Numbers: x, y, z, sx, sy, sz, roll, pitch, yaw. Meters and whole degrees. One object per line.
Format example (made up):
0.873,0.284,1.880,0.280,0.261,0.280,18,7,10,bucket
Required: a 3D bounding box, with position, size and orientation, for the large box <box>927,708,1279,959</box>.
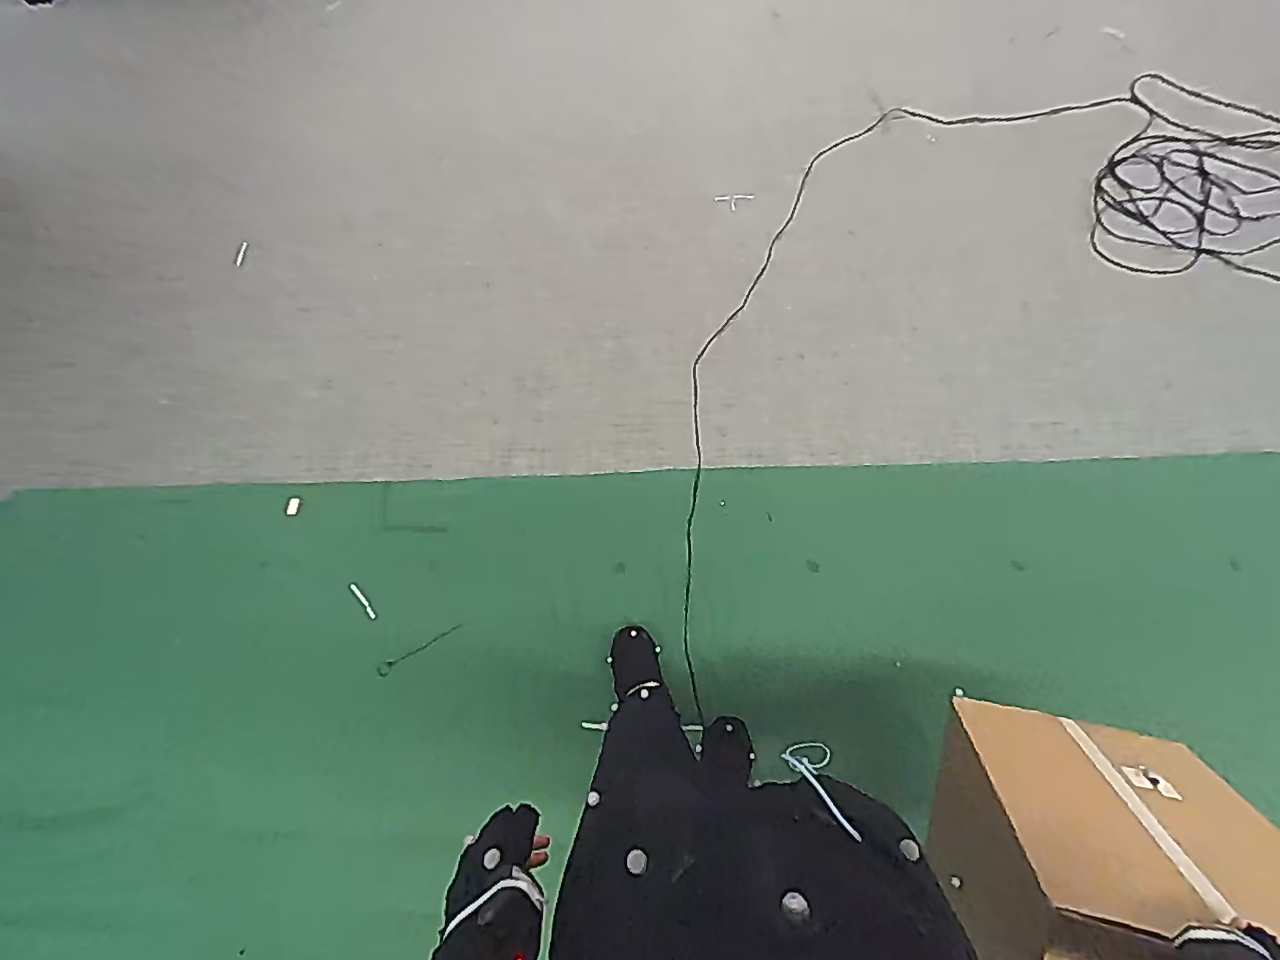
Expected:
0.584,0.557,0.672,0.320,0.408,0.320,8,98,17,large box
